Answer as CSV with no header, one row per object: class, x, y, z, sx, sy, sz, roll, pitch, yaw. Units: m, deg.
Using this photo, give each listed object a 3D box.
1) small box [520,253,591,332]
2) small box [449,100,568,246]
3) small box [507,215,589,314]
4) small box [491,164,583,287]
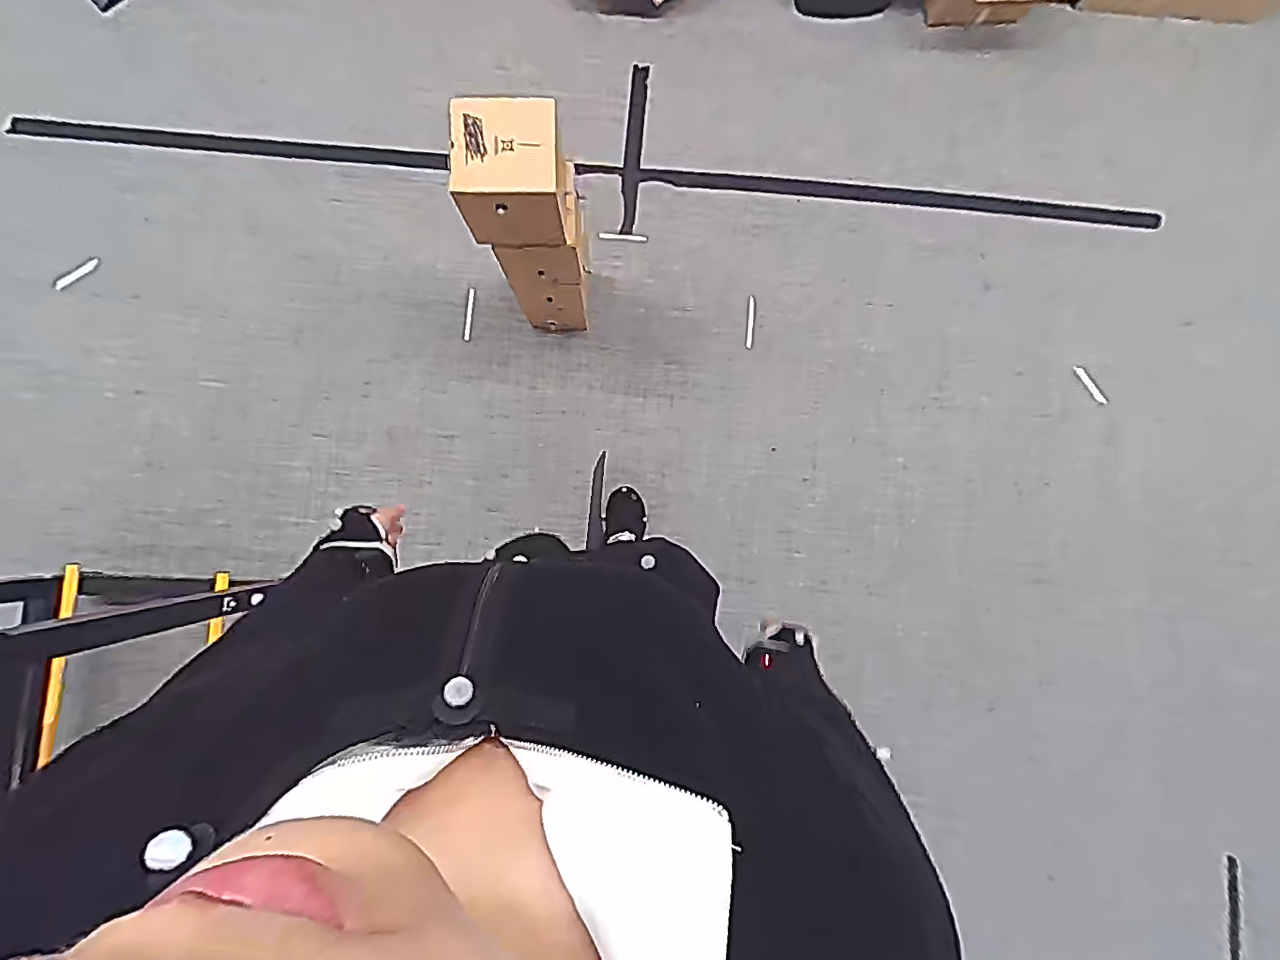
small box,-0.222,-0.517,1.459,0.168,0.176,0.179,2,87,-1
small box,-0.225,-0.537,0.965,0.179,0.176,0.168,-1,85,-2
small box,-0.213,-0.513,1.294,0.168,0.176,0.179,3,86,-1
small box,-0.209,-0.524,1.129,0.168,0.176,0.179,-2,86,-1
